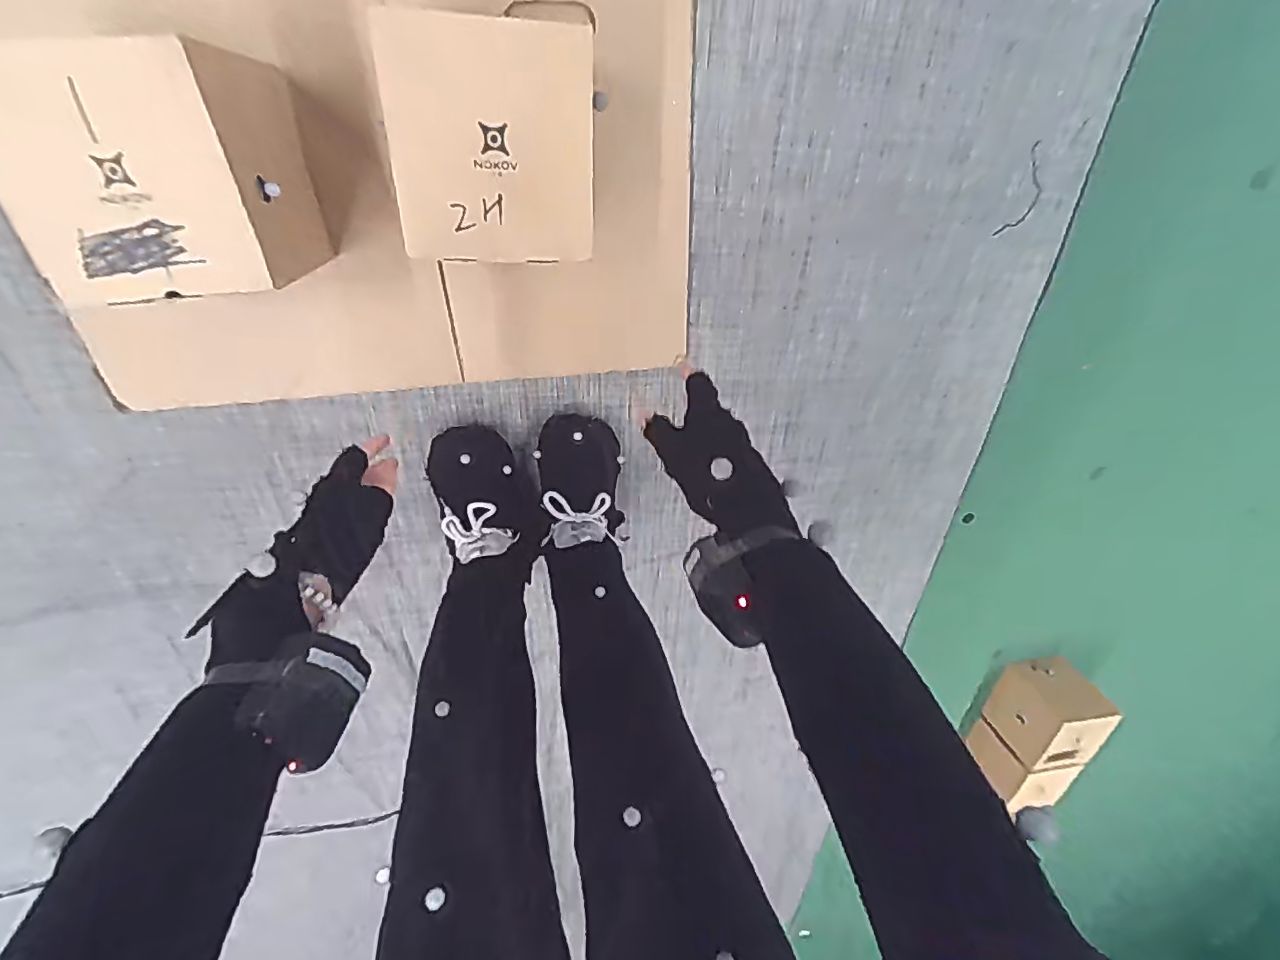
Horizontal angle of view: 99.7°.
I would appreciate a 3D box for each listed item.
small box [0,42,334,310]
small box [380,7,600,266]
[{"bbox_3d":[-0.404,-0.266,0.482,0.168,0.176,0.179,-8,122,-7],"label":"small box"},{"bbox_3d":[-0.130,-0.313,0.516,0.168,0.176,0.179,-2,122,-10],"label":"small box"}]
